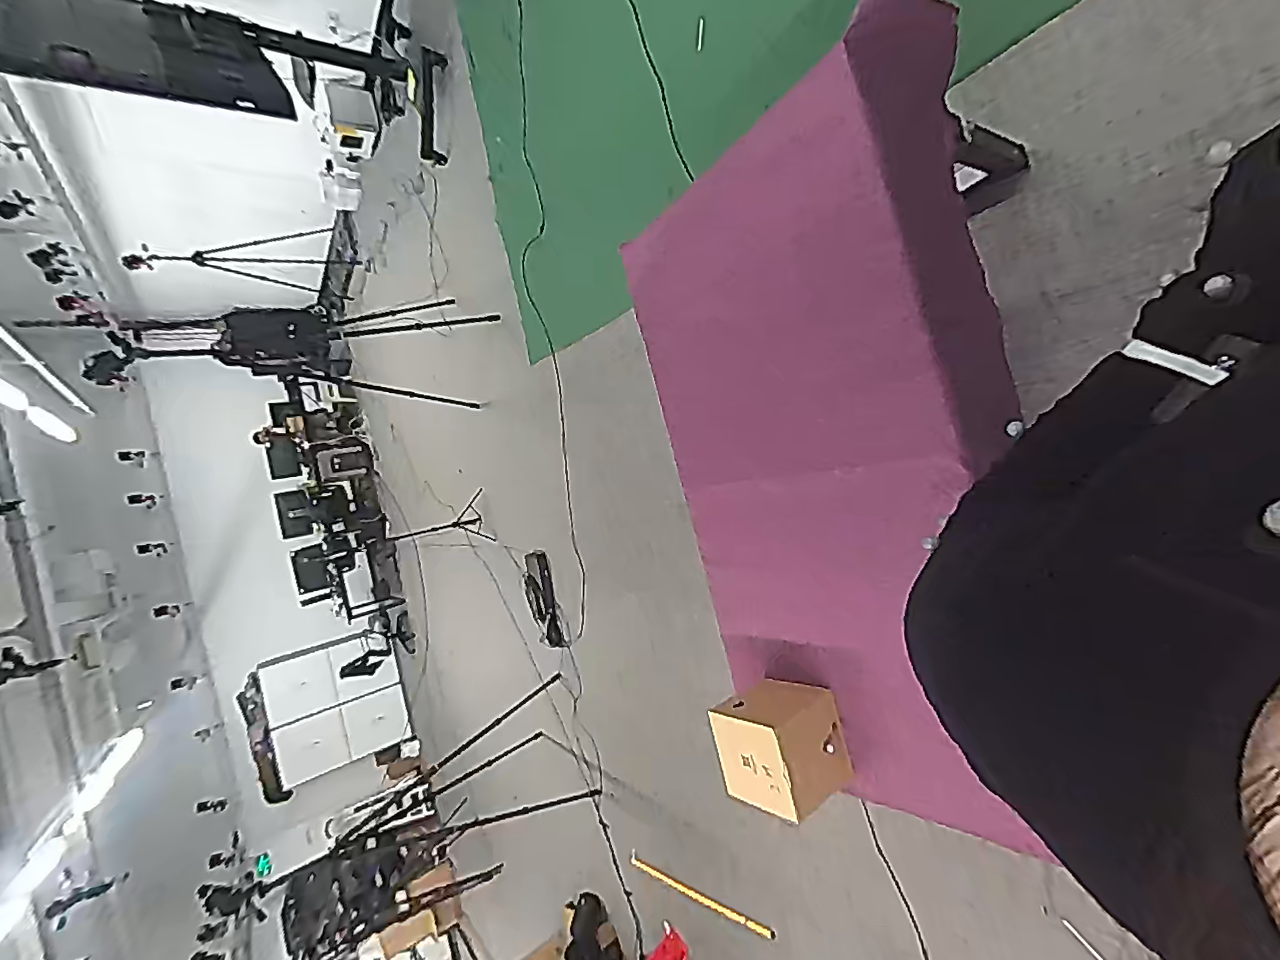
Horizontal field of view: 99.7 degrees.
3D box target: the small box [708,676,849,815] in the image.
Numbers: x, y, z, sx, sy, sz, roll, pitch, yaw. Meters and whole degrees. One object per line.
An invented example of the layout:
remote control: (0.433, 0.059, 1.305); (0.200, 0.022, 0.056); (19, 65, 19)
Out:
small box: (0.263, 0.491, 1.033); (0.179, 0.176, 0.168); (-17, 87, 54)
